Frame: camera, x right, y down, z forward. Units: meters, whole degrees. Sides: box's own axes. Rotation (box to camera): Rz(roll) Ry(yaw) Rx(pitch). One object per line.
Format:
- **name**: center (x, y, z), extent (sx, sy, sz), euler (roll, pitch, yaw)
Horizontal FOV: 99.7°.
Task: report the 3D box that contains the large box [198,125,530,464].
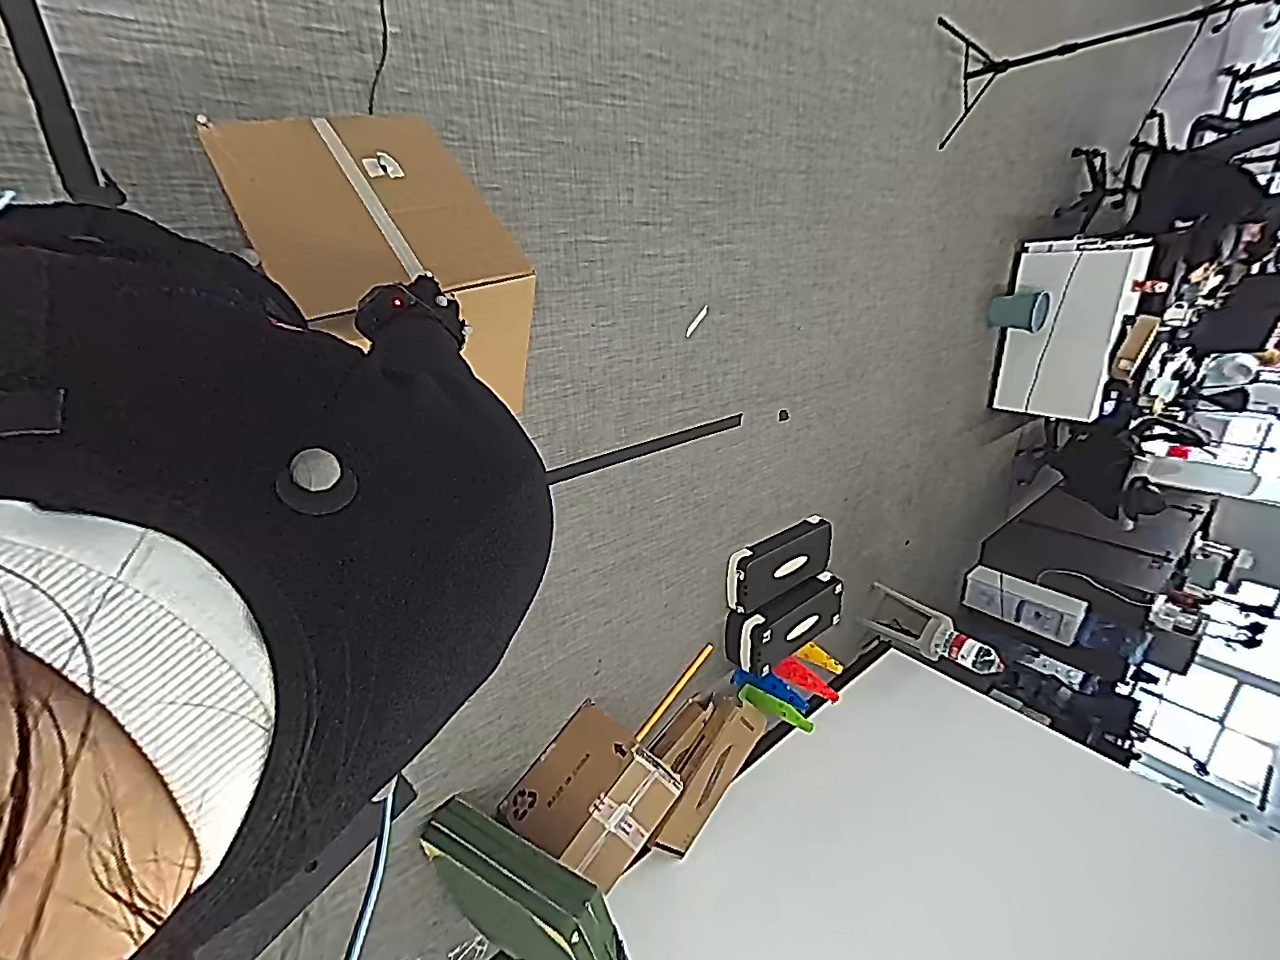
- **large box**: center (-0.421, -0.303, 0.884), extent (0.320, 0.408, 0.320), euler (-25, 158, -30)
